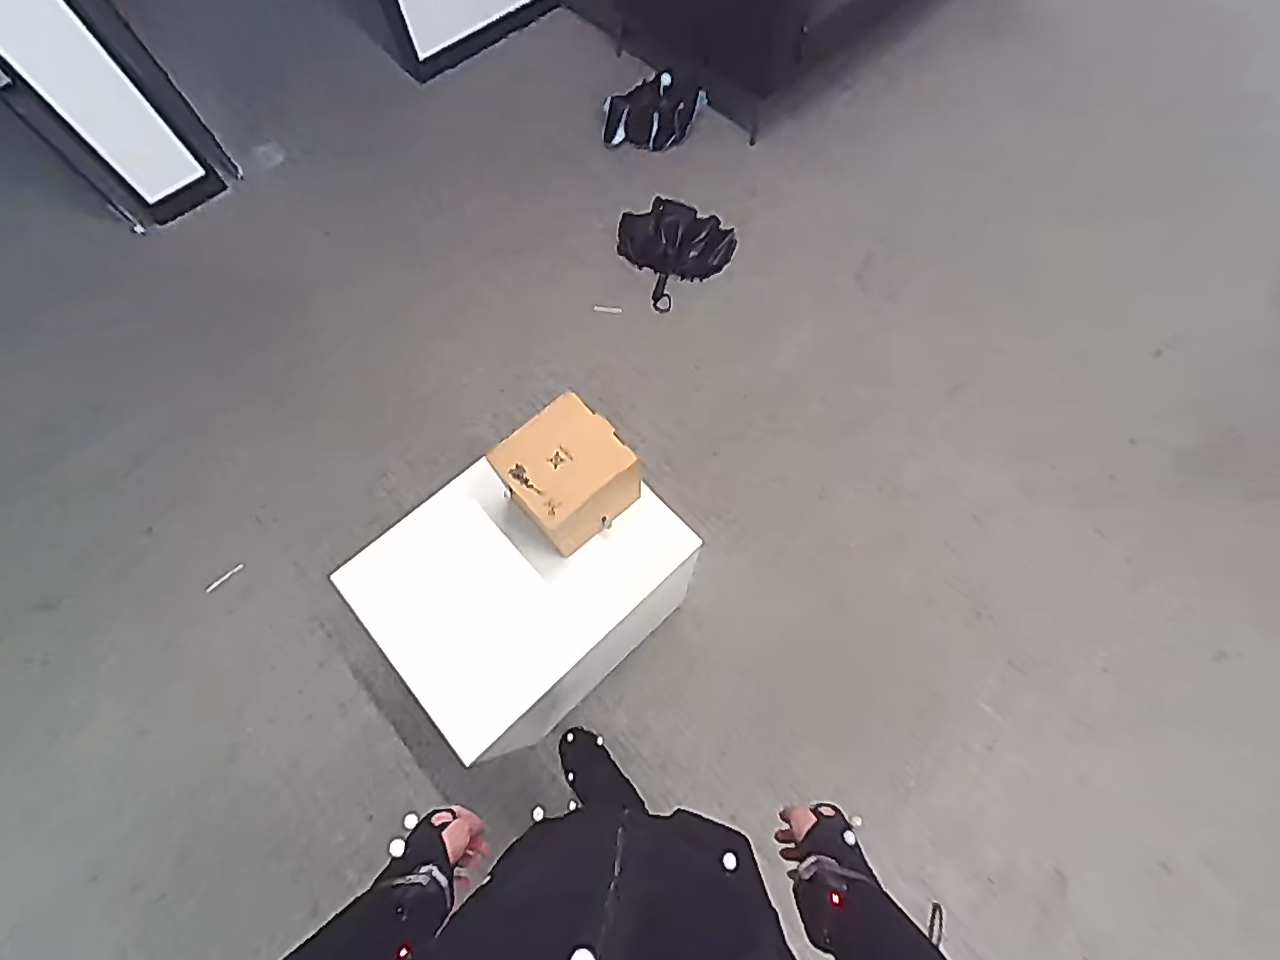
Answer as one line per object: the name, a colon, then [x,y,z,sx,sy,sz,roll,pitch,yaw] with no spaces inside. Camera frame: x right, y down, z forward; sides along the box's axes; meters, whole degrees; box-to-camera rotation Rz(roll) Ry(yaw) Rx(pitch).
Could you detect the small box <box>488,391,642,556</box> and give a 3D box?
small box: [-0.116,-0.005,0.885,0.179,0.176,0.168,-39,72,-16]
